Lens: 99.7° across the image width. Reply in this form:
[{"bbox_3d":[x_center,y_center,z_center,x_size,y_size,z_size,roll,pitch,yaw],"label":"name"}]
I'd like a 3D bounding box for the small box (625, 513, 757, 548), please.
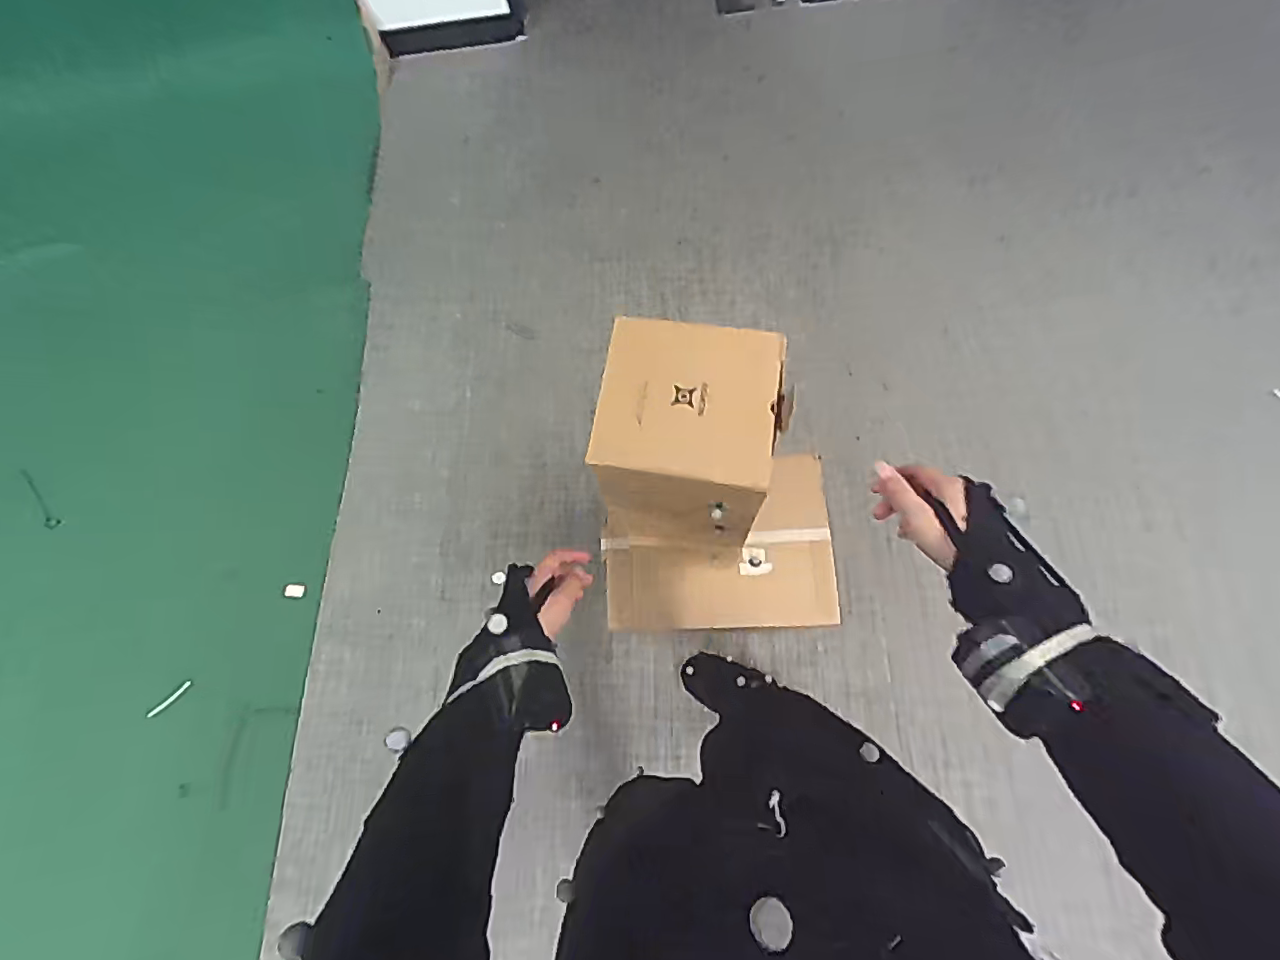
[{"bbox_3d":[0.074,-0.007,0.752,0.179,0.176,0.168,7,73,7],"label":"small box"}]

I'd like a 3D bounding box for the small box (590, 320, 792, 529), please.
[{"bbox_3d":[0.057,-0.050,0.596,0.179,0.176,0.168,8,72,8],"label":"small box"}]

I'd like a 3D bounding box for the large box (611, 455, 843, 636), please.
[{"bbox_3d":[0.157,0.153,1.121,0.408,0.320,0.320,-3,74,4],"label":"large box"}]
